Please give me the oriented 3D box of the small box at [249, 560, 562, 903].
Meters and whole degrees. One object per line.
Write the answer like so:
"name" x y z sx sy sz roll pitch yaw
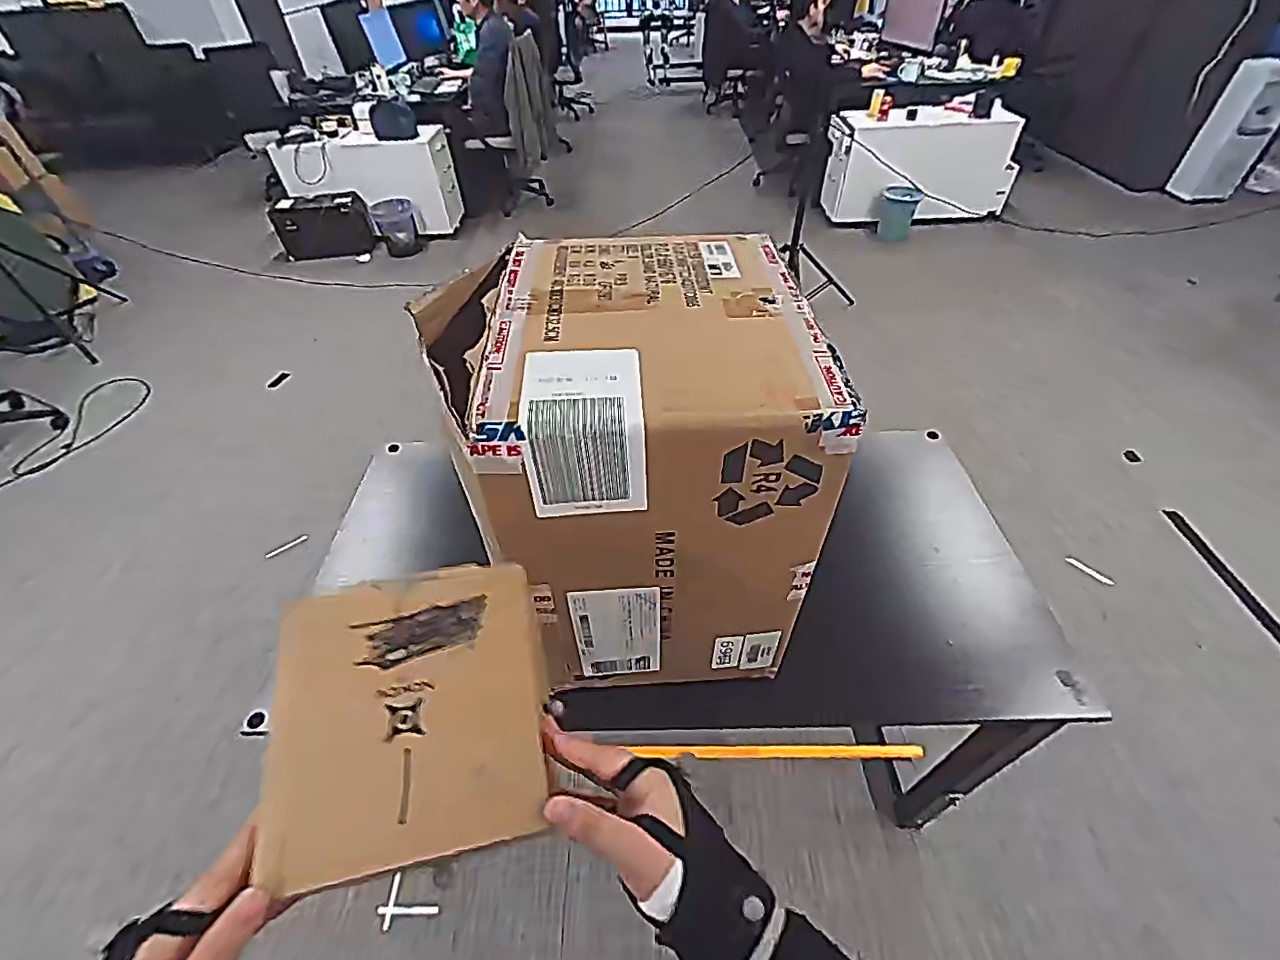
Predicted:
"small box" -0.155 0.185 0.412 0.168 0.176 0.179 -10 60 -11
